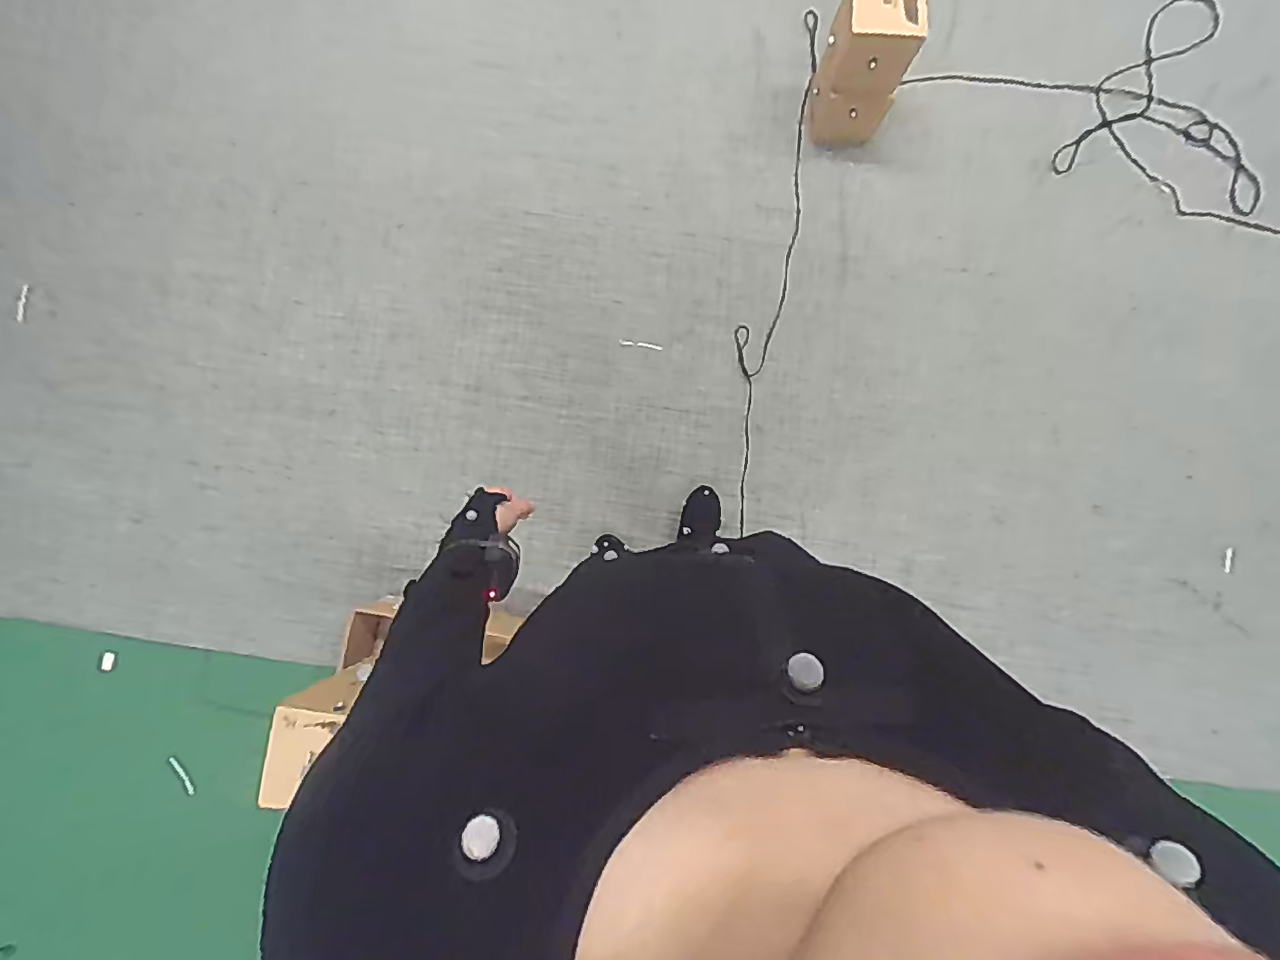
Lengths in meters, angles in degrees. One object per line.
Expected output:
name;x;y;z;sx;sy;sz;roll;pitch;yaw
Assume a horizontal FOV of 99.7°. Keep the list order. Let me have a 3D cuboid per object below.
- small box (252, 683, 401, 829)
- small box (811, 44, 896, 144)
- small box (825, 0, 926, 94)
small box;-0.567;0.499;1.000;0.168;0.176;0.179;8;86;0
small box;0.572;-1.047;1.475;0.179;0.176;0.168;0;87;0
small box;0.567;-1.077;1.313;0.179;0.176;0.168;3;86;2
